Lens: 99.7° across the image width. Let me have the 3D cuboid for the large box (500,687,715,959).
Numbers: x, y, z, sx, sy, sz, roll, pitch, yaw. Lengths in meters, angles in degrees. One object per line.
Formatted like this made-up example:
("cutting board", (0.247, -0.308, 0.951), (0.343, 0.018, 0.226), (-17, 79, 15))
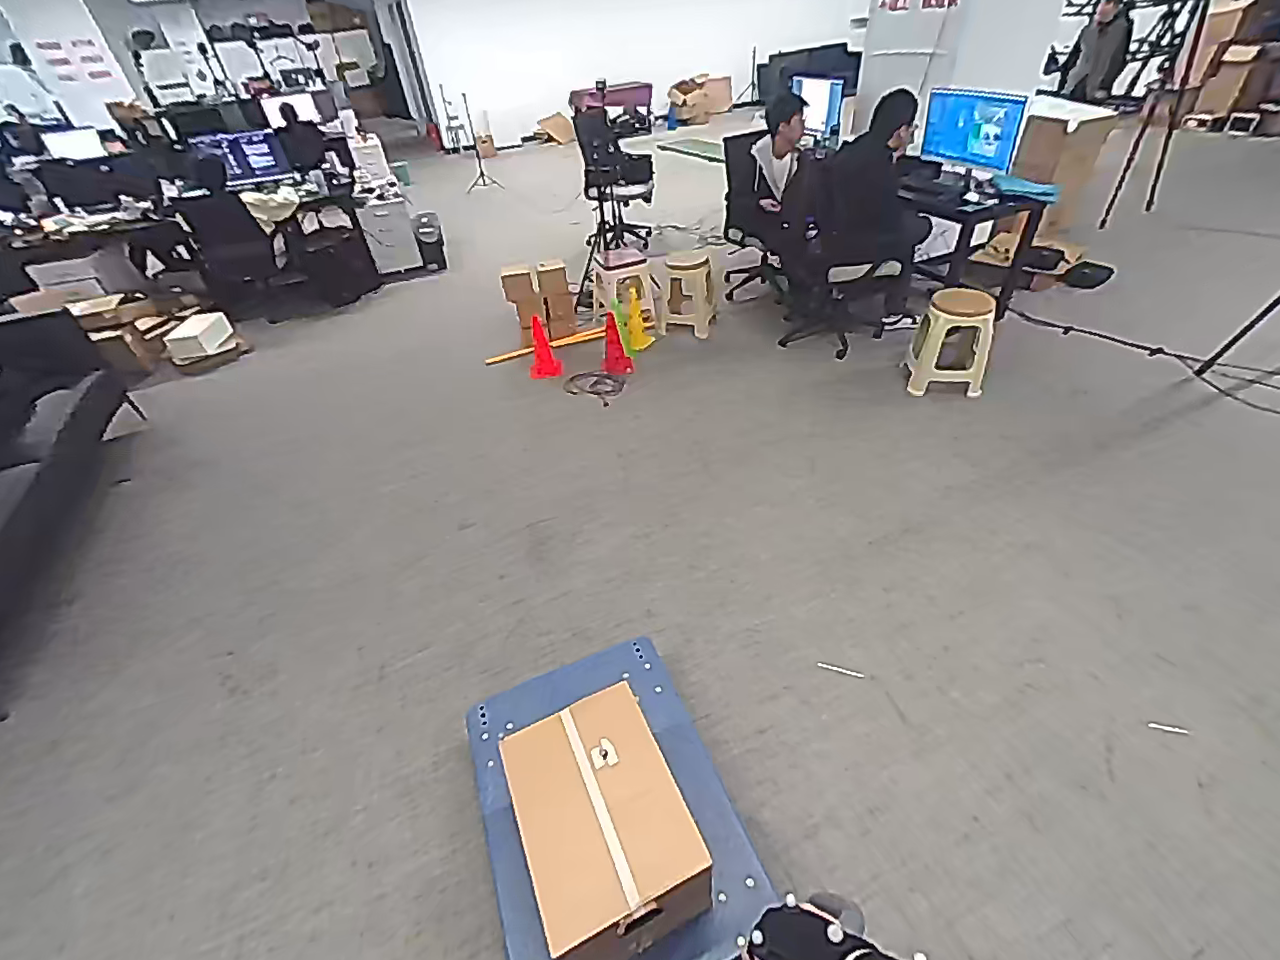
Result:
("large box", (-0.071, 0.759, 1.186), (0.320, 0.320, 0.408), (-21, 42, -15))
